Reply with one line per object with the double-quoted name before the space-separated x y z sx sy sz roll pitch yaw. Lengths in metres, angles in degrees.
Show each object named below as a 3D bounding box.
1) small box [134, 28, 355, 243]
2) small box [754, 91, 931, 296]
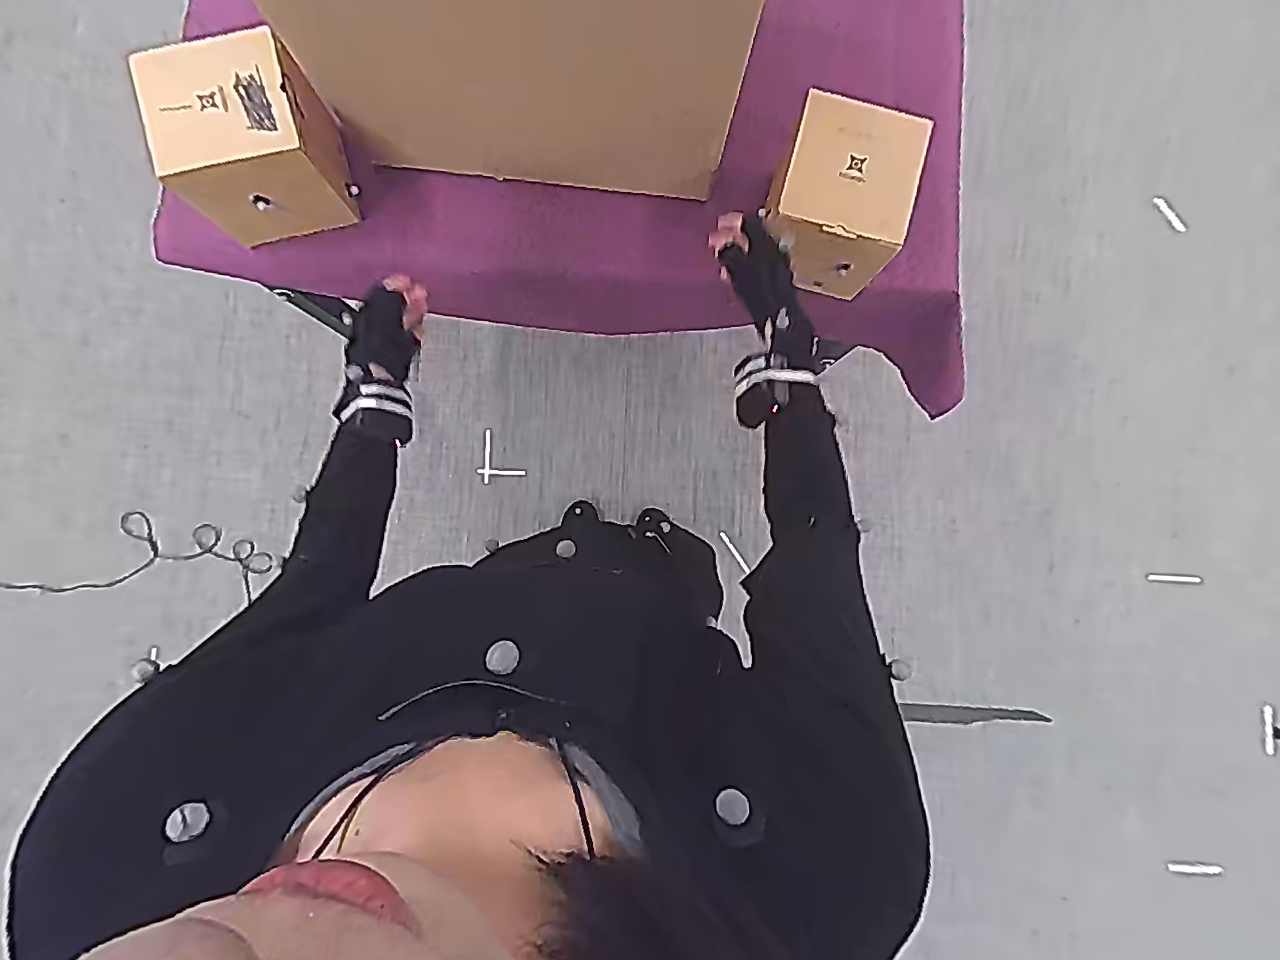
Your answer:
"small box" -0.517 -0.455 0.738 0.179 0.176 0.168 -15 86 -4
"small box" 0.270 -0.385 0.760 0.168 0.176 0.179 14 84 -1
